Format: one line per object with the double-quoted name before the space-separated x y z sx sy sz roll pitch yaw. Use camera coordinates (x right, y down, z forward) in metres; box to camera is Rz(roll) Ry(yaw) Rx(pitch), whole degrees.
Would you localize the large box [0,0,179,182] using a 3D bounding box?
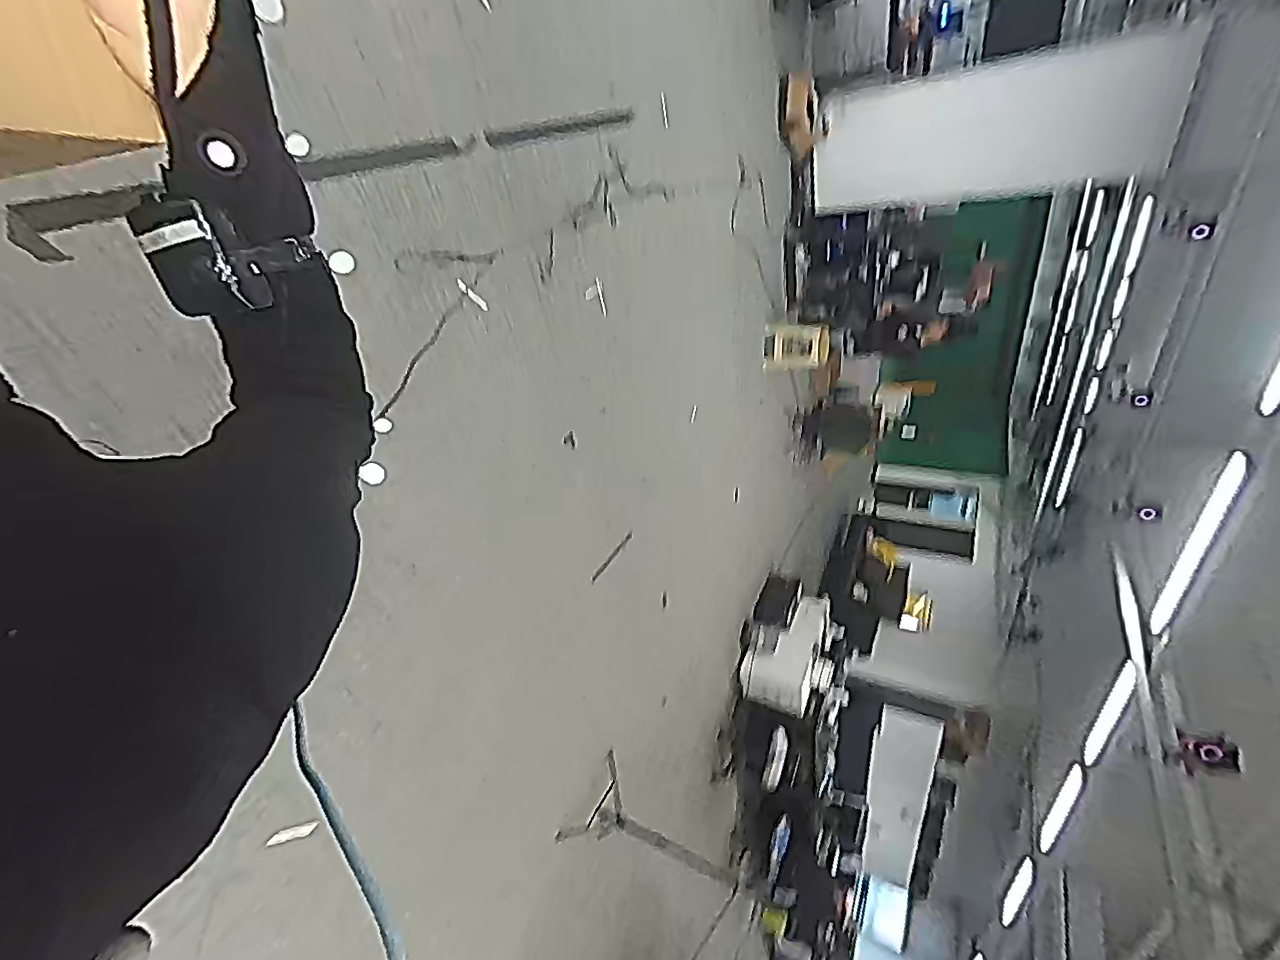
"large box" -0.486 -0.274 0.150 0.408 0.320 0.320 -38 134 -53
